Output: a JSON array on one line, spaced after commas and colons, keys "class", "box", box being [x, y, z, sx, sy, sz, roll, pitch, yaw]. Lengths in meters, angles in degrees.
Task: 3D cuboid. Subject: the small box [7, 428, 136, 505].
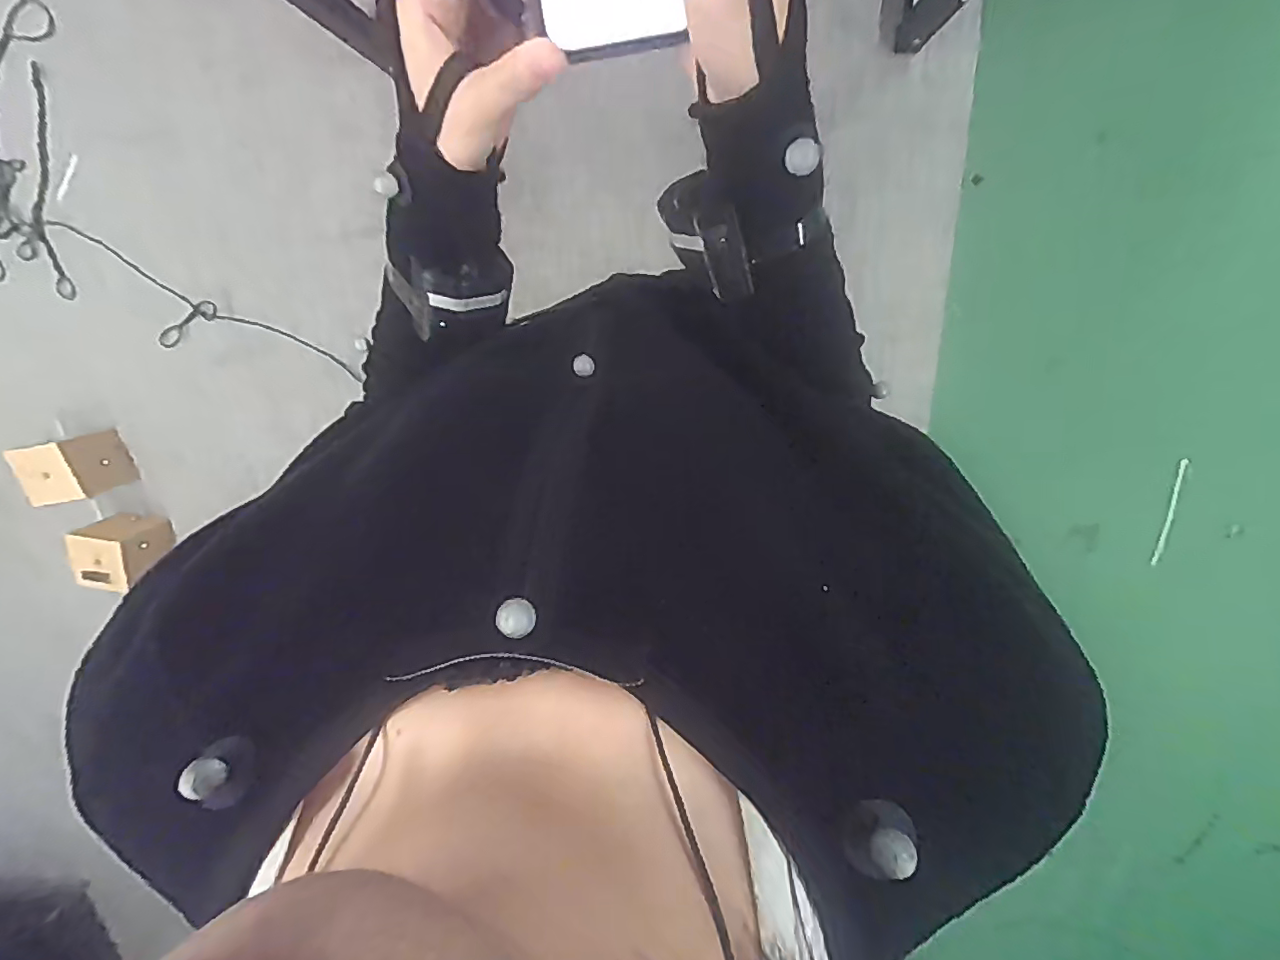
[{"class": "small box", "box": [-1.625, -0.044, 1.564, 0.179, 0.176, 0.168, -8, 109, 7]}]
